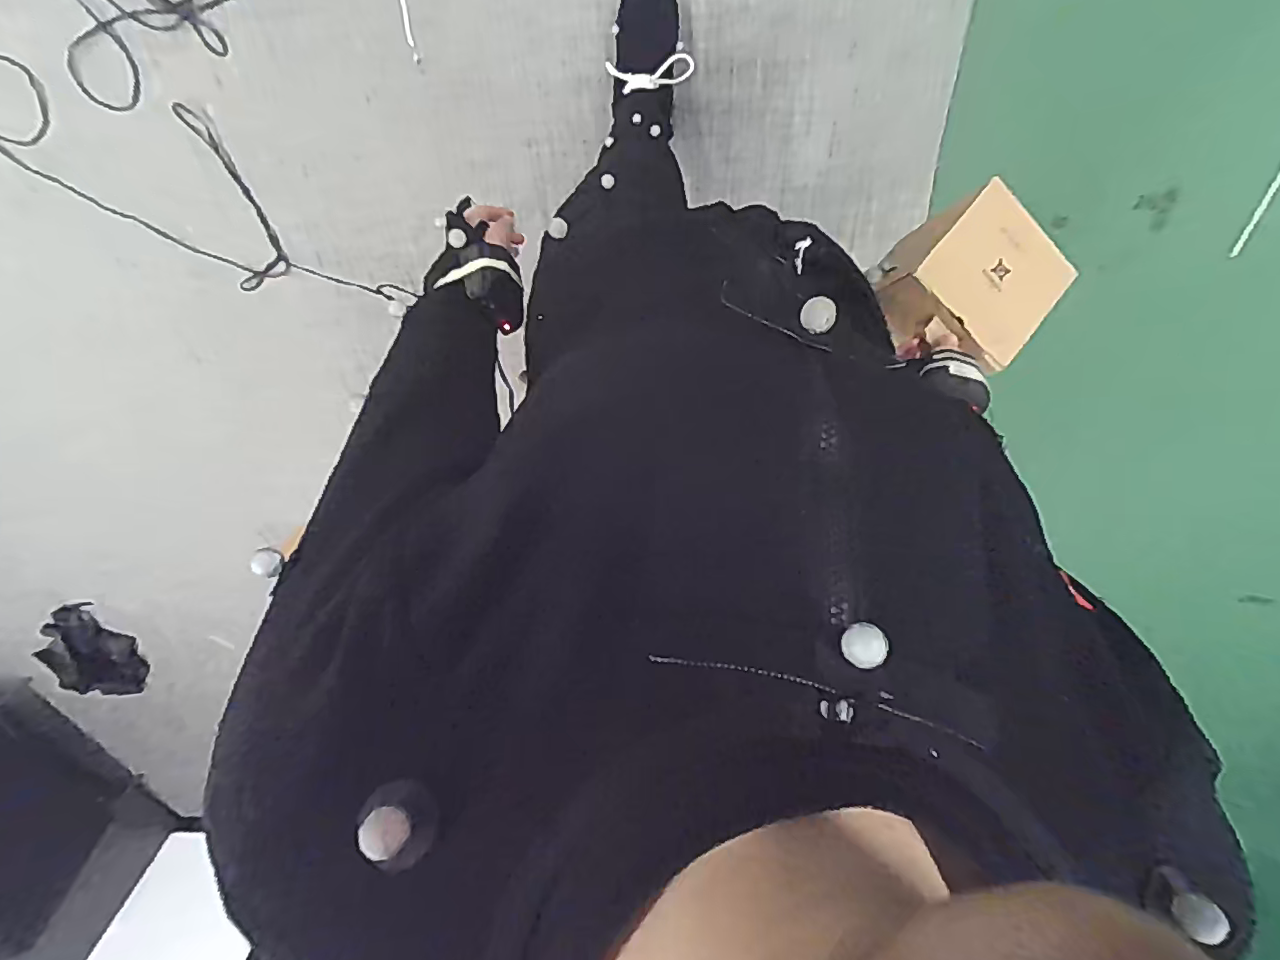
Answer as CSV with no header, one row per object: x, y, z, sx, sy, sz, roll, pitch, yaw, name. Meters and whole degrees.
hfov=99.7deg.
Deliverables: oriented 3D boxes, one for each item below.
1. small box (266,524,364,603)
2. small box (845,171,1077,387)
-0.981,0.254,1.655,0.168,0.176,0.179,-3,124,5,small box
0.402,-0.245,0.710,0.168,0.176,0.179,43,79,-10,small box
